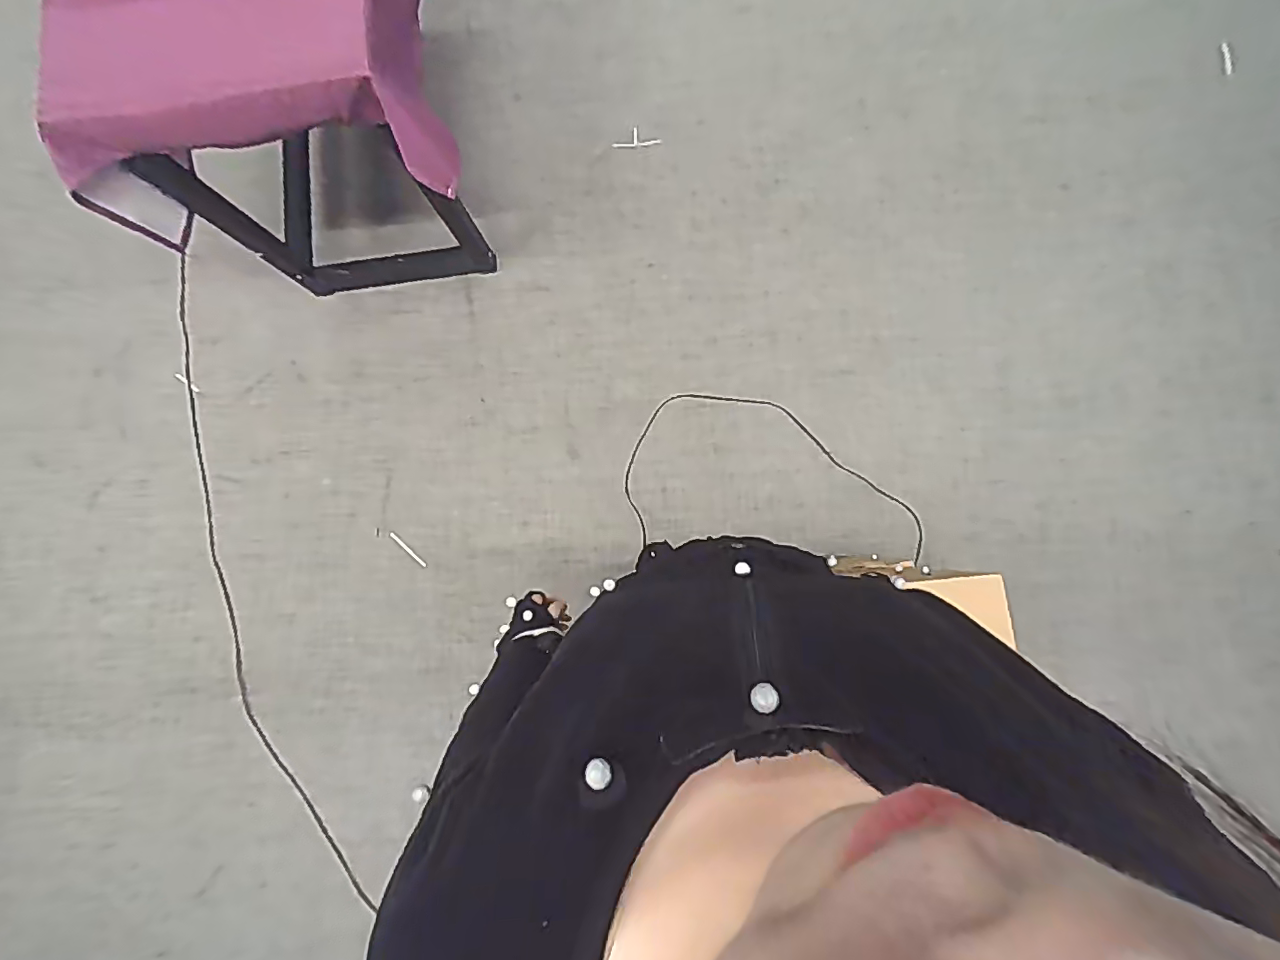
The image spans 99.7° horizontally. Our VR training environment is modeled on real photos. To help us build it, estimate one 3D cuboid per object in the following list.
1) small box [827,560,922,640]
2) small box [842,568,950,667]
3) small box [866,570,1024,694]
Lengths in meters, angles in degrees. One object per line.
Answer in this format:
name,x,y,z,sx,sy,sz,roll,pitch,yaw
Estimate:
small box,0.537,0.276,1.234,0.168,0.176,0.179,-7,84,4
small box,0.513,0.265,1.072,0.179,0.176,0.168,-6,83,3
small box,0.497,0.245,0.909,0.168,0.176,0.179,-5,83,4
